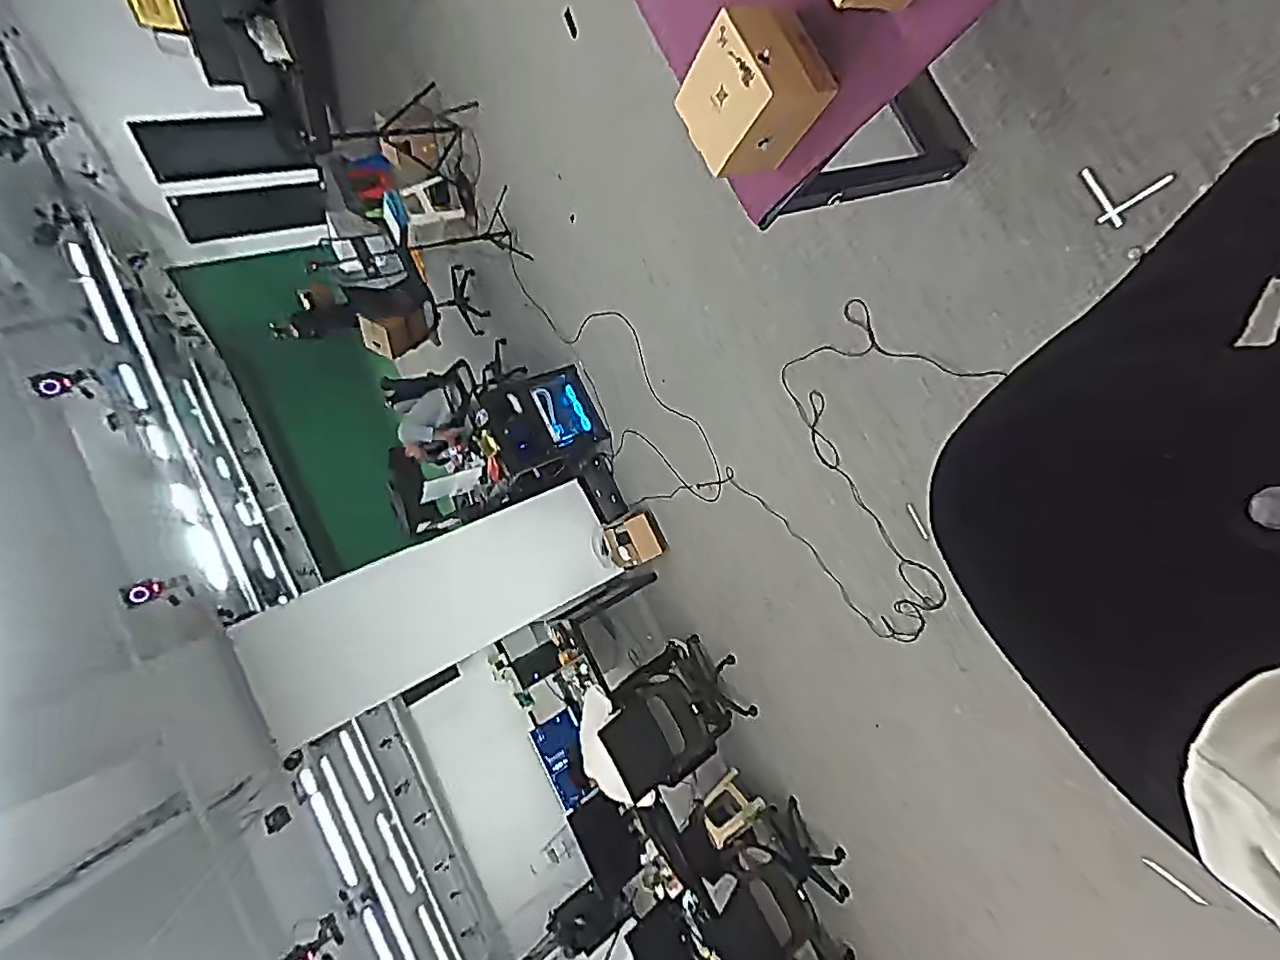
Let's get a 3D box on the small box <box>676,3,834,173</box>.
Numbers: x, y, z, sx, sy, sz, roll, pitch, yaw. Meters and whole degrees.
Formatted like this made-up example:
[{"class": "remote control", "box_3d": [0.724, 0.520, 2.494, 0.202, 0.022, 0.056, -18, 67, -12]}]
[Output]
[{"class": "small box", "box_3d": [0.197, -0.675, 0.943, 0.168, 0.176, 0.179, 63, 153, 3]}]
